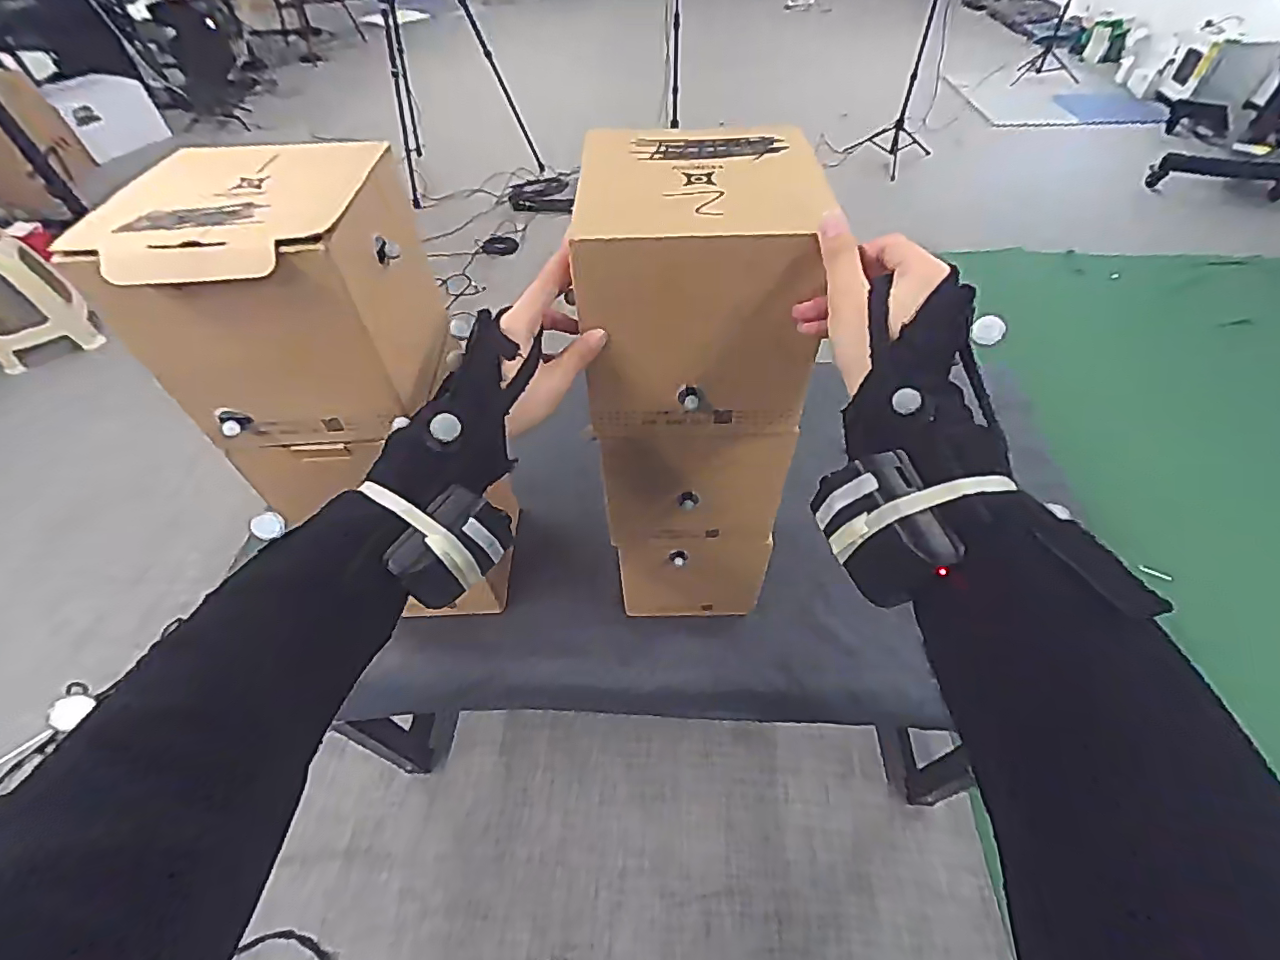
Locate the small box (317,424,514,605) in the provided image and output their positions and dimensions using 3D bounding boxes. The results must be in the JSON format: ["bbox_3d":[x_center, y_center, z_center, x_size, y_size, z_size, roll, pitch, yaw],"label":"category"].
[{"bbox_3d":[-0.265,0.051,0.691,0.168,0.176,0.179,-2,50,0],"label":"small box"}]

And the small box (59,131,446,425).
[{"bbox_3d":[-0.270,-0.157,0.438,0.168,0.176,0.179,-3,50,-3],"label":"small box"}]

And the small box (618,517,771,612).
[{"bbox_3d":[0.059,0.049,0.685,0.168,0.176,0.179,-1,50,1],"label":"small box"}]

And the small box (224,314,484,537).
[{"bbox_3d":[-0.269,-0.051,0.565,0.168,0.176,0.179,-2,49,-2],"label":"small box"}]

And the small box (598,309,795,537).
[{"bbox_3d":[0.050,-0.054,0.556,0.168,0.176,0.179,0,50,0],"label":"small box"}]
